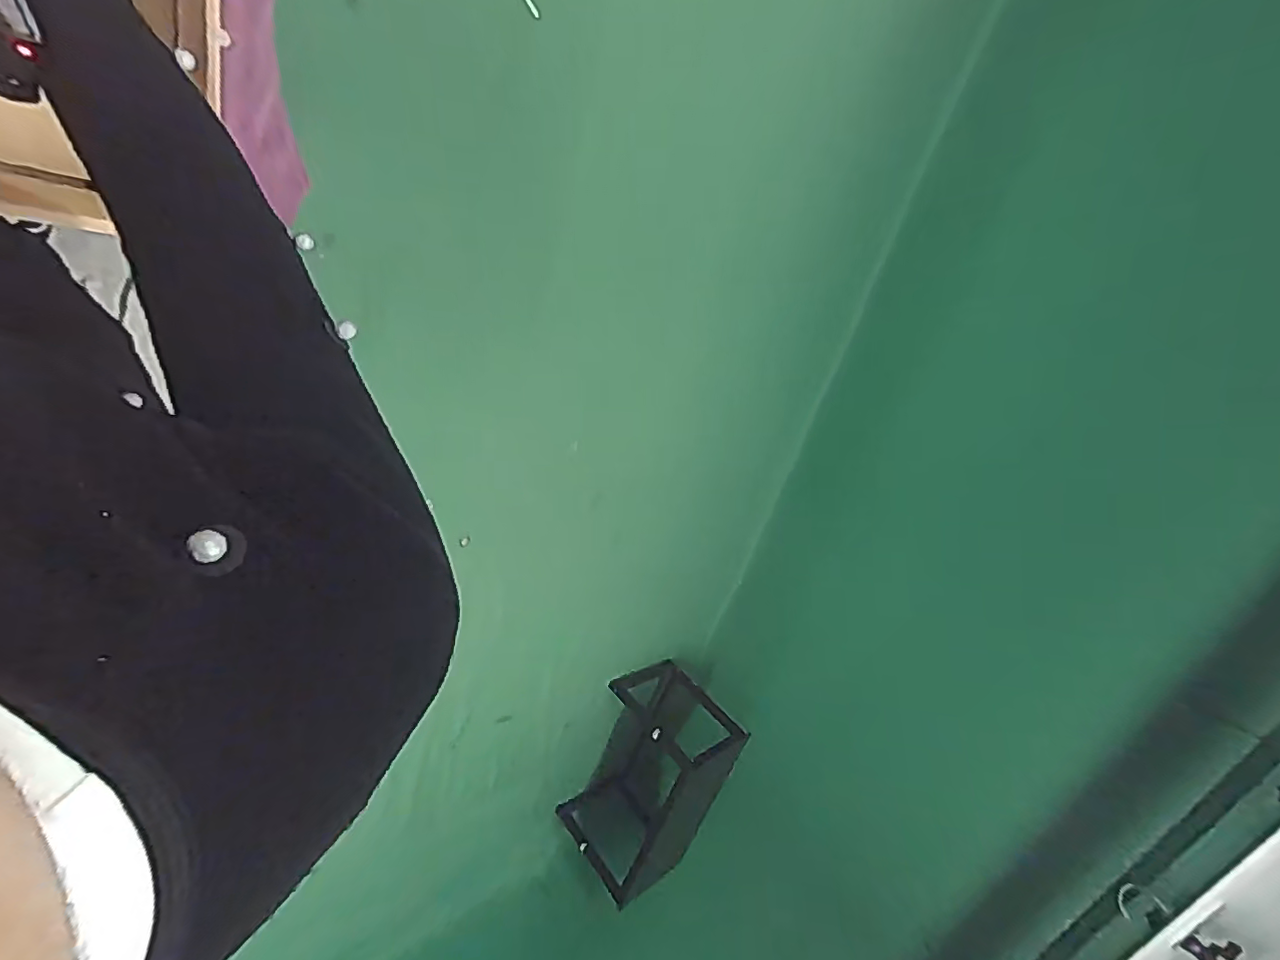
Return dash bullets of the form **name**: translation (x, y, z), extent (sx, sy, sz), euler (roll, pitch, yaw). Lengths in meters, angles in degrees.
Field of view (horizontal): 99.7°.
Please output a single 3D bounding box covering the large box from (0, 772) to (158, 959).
- **large box**: translation (-1.639, 1.092, 1.448), extent (0.408, 0.320, 0.320), euler (-37, 140, -24)
